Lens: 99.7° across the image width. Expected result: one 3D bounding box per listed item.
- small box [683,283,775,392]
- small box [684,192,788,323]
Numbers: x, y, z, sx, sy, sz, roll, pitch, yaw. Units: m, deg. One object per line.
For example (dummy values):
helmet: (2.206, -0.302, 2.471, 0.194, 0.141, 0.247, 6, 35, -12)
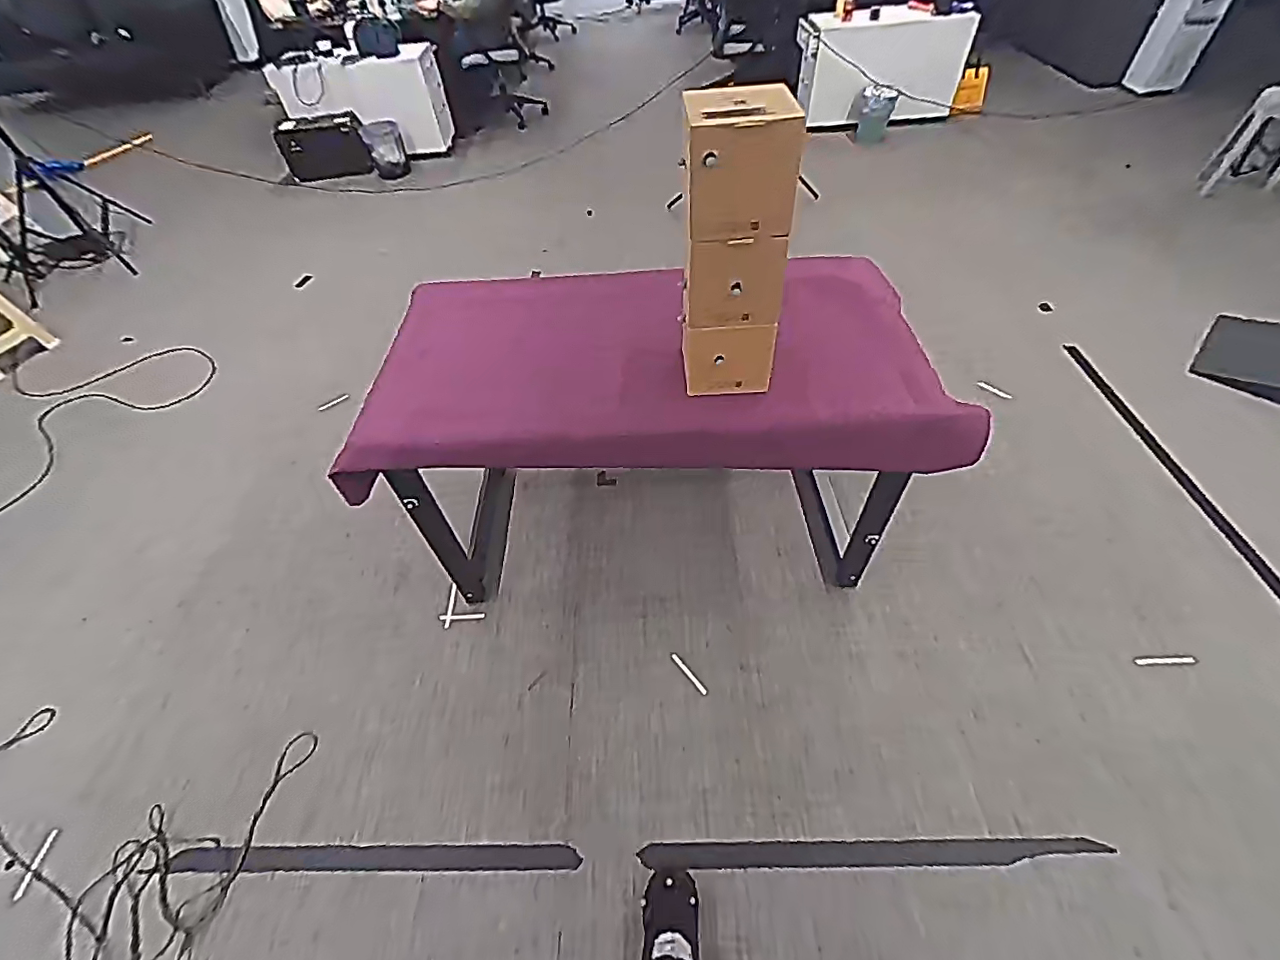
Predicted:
small box: (0.177, -0.295, 1.121, 0.168, 0.176, 0.179, -3, 50, 2)
small box: (0.168, -0.403, 0.998, 0.168, 0.176, 0.179, -2, 50, 3)
